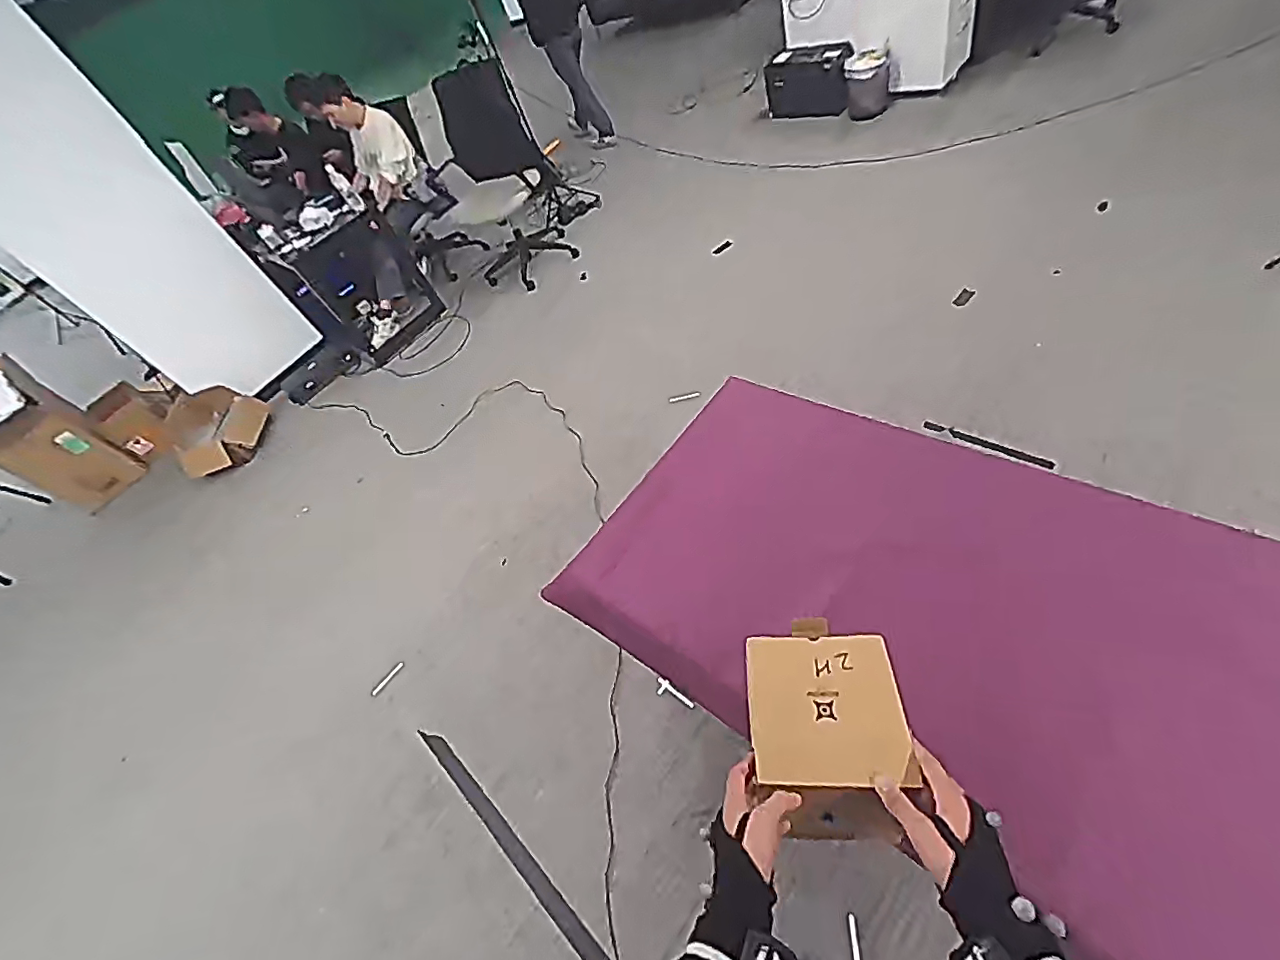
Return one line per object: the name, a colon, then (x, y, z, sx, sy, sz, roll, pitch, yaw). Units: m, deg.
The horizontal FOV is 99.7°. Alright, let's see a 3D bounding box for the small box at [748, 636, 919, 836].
small box: (0.222, 0.314, 0.666, 0.168, 0.176, 0.179, -2, 40, 9)
